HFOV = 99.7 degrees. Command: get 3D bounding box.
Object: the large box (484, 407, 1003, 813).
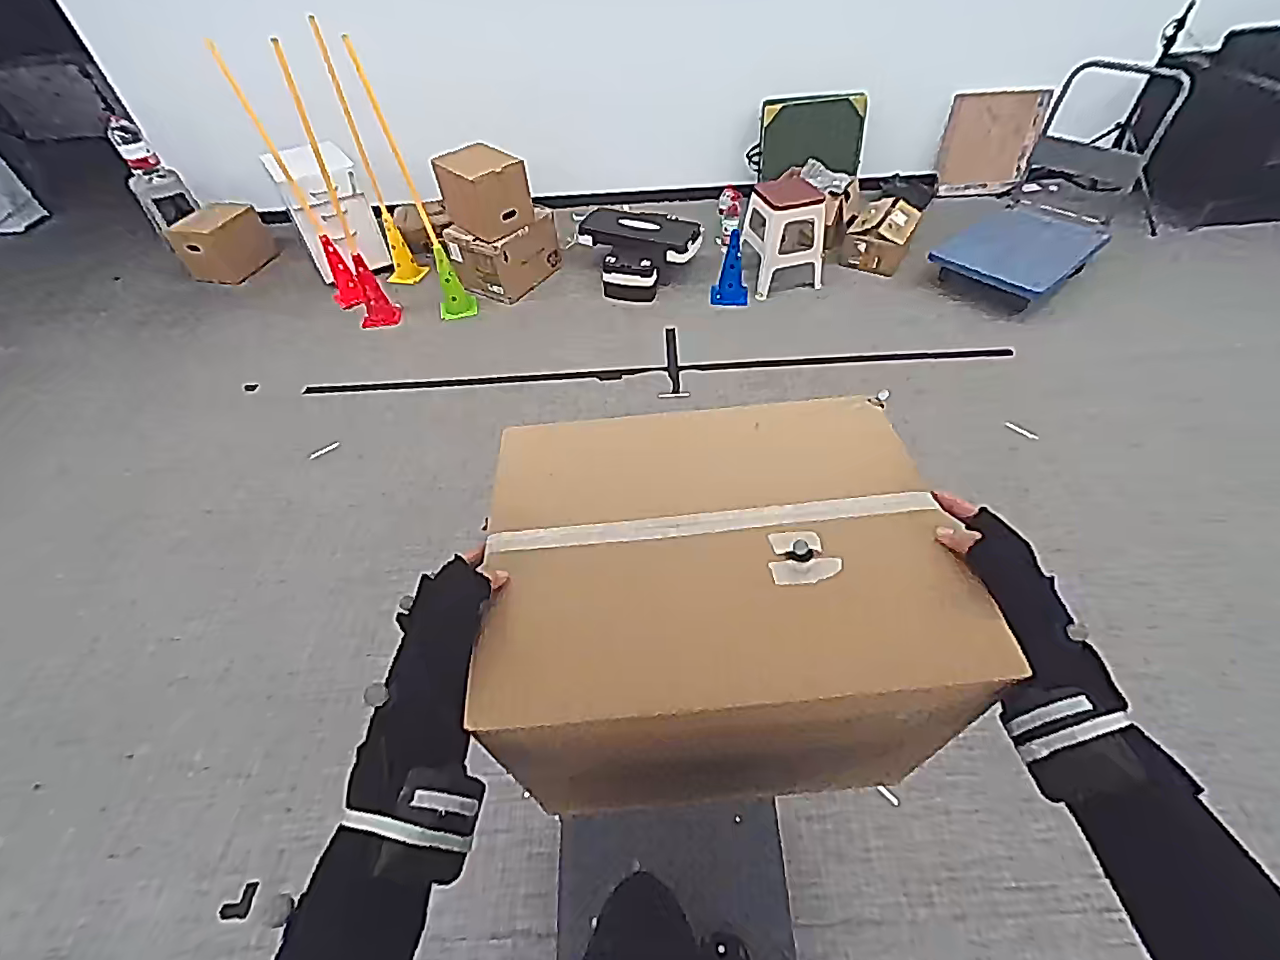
[{"bbox_3d":[0.073,0.149,0.611,0.408,0.320,0.320,-5,49,-1],"label":"large box"}]
